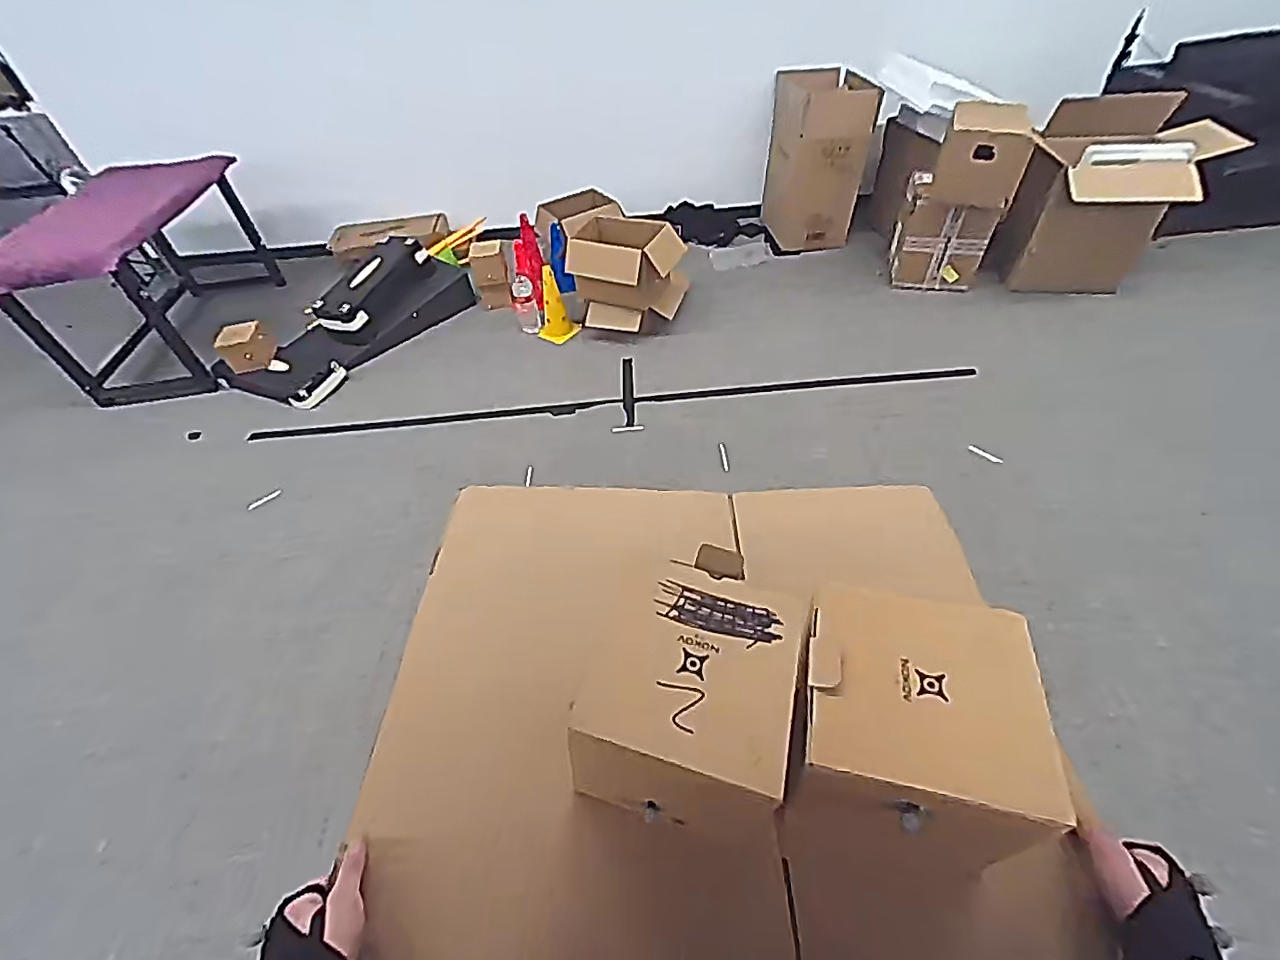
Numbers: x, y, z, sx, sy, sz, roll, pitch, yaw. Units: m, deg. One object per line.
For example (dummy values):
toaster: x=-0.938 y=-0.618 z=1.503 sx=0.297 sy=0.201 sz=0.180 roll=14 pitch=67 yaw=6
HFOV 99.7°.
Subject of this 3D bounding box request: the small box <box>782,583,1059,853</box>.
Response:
small box: x=0.235 y=0.222 z=0.502 sx=0.179 sy=0.176 sz=0.168 roll=7 pitch=48 yaw=14
